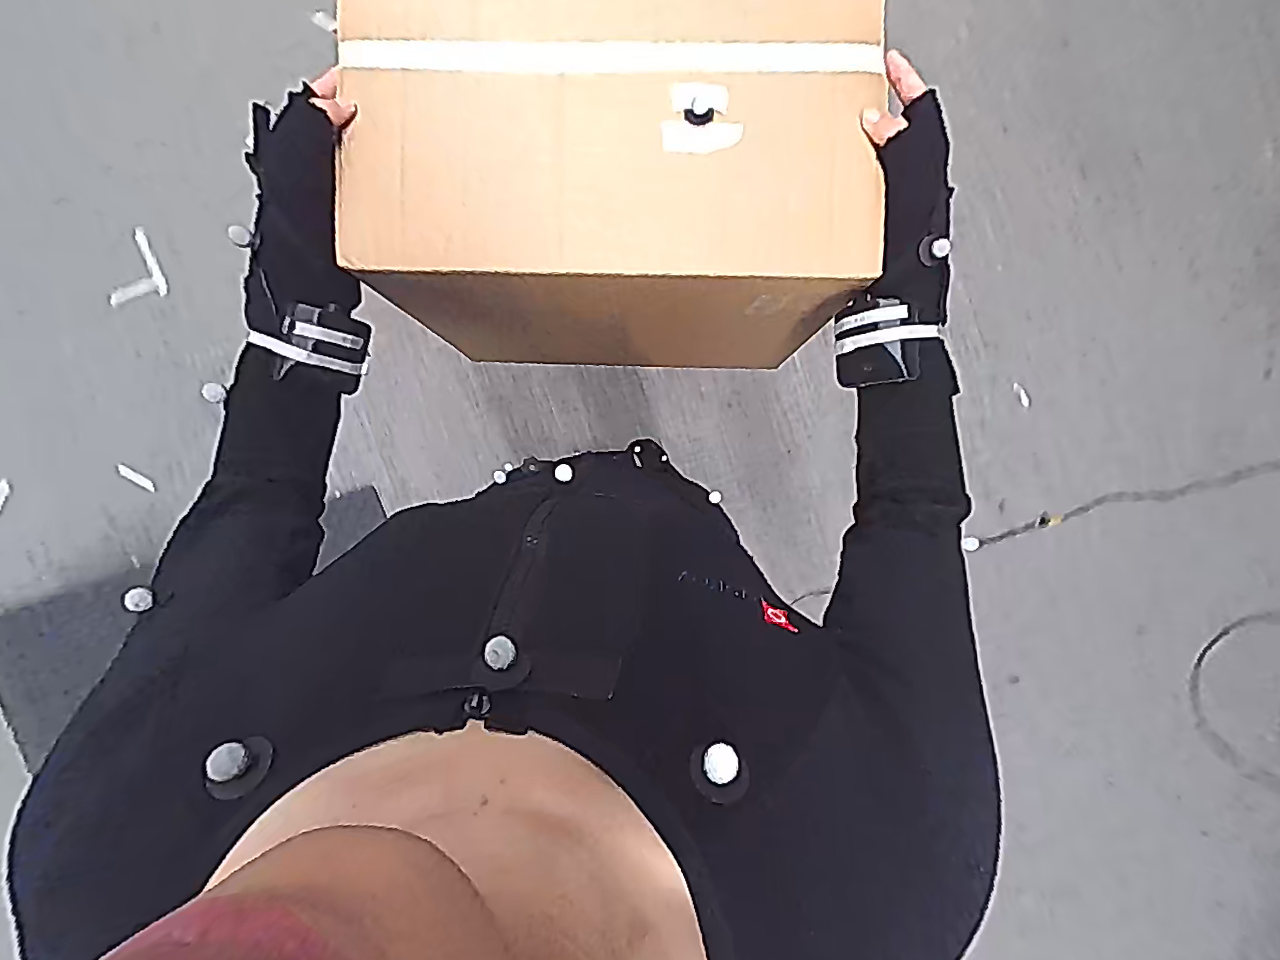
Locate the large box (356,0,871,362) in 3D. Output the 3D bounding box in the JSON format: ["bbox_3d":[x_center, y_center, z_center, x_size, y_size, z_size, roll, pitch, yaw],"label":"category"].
[{"bbox_3d":[-0.022,-0.314,0.568,0.408,0.320,0.320,0,90,0],"label":"large box"}]
